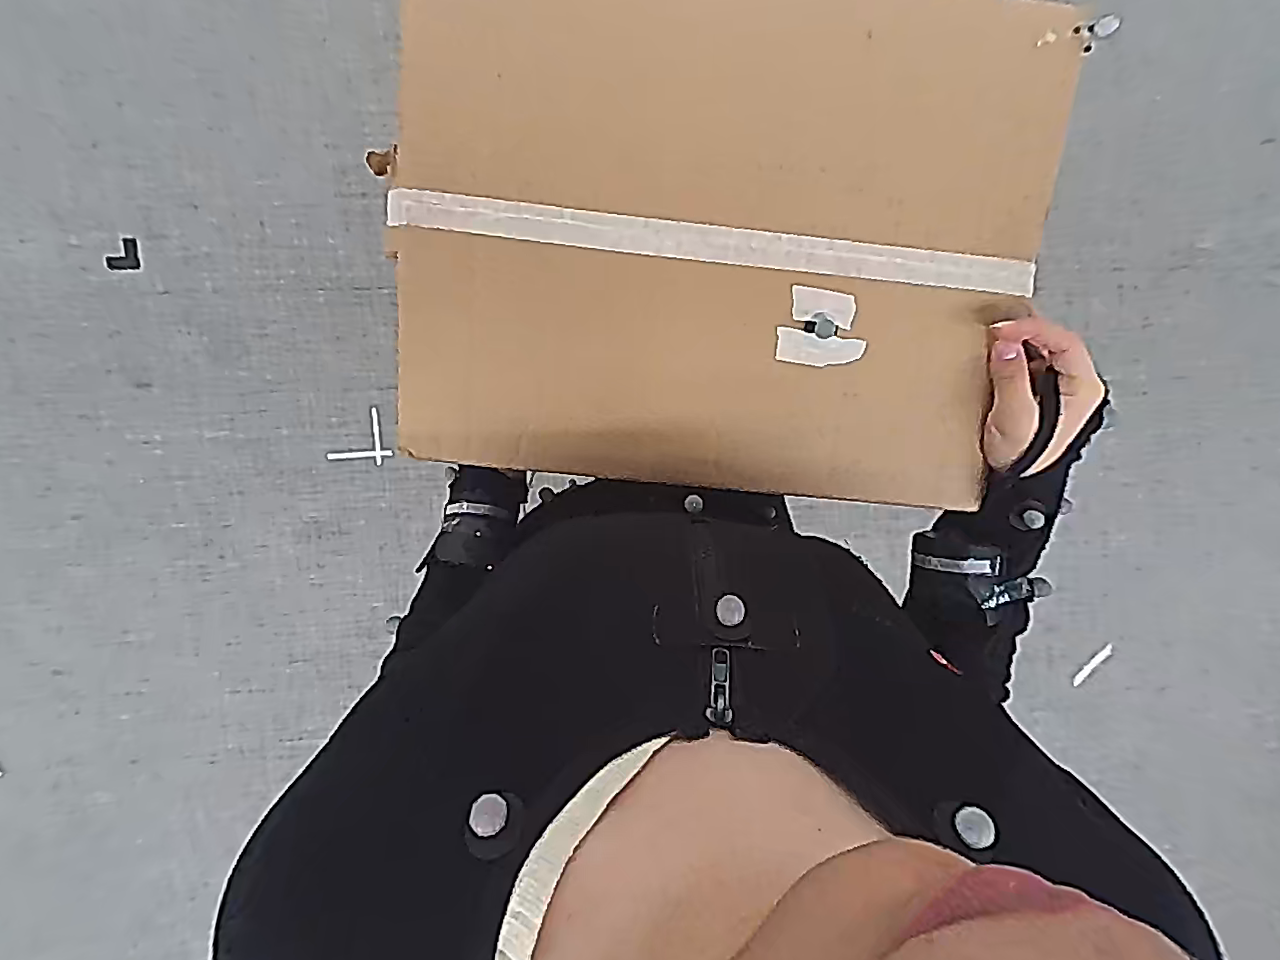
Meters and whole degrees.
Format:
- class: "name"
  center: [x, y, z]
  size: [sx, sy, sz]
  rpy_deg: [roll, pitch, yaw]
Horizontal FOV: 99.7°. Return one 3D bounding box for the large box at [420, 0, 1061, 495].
- class: "large box"
  center: [0.048, -0.178, 0.499]
  size: [0.408, 0.320, 0.320]
  rpy_deg: [4, 102, -4]
